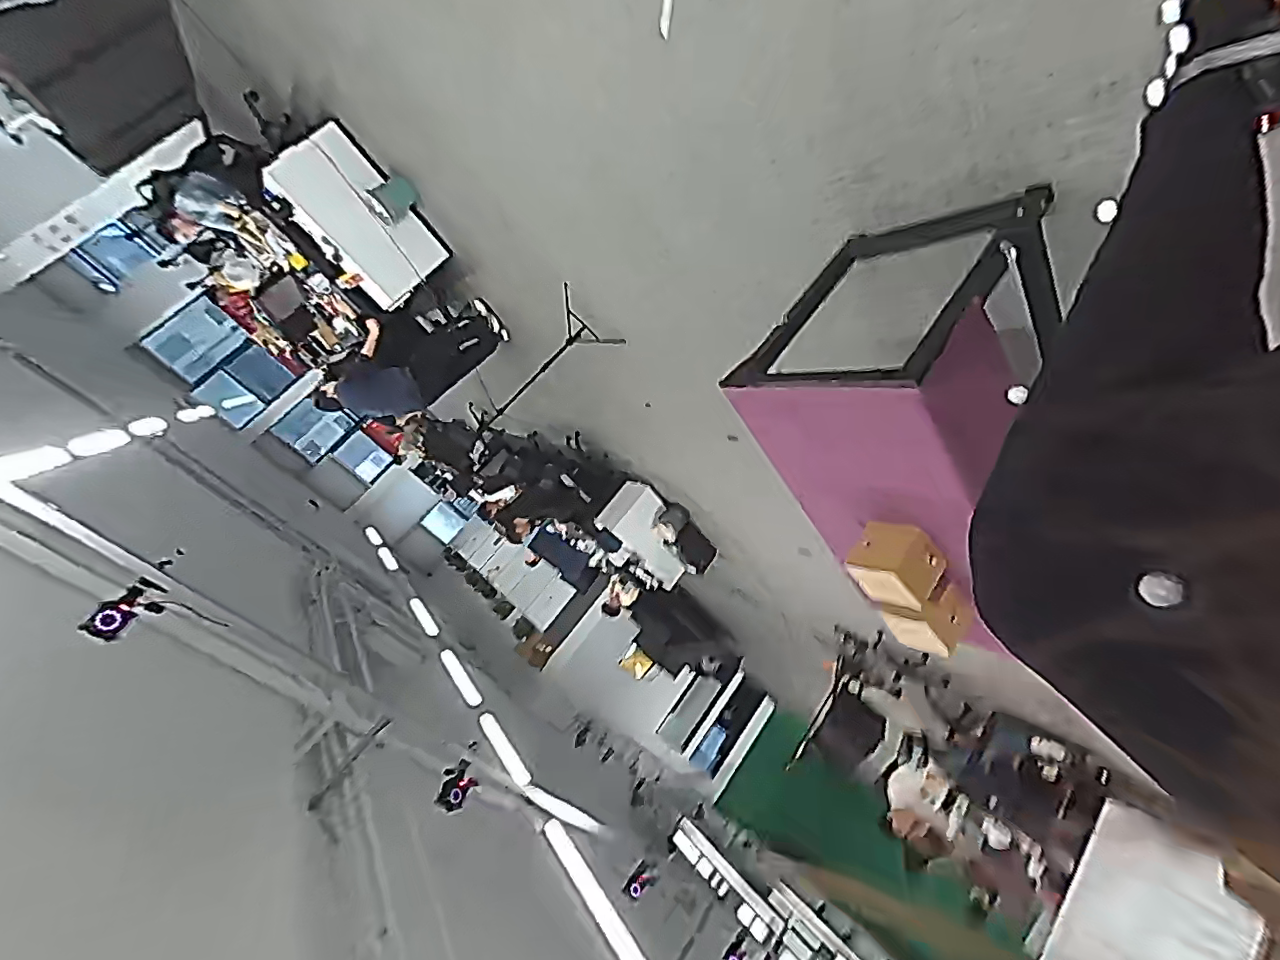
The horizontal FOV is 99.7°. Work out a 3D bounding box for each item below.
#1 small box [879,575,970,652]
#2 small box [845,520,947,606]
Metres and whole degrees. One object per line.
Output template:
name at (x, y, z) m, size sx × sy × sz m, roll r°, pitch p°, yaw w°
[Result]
small box at (0.894, 0.399, 1.686) m, size 0.168 × 0.176 × 0.179 m, roll 46°, pitch 163°, yaw -21°
small box at (0.744, 0.232, 1.570) m, size 0.168 × 0.176 × 0.179 m, roll 45°, pitch 163°, yaw -21°
